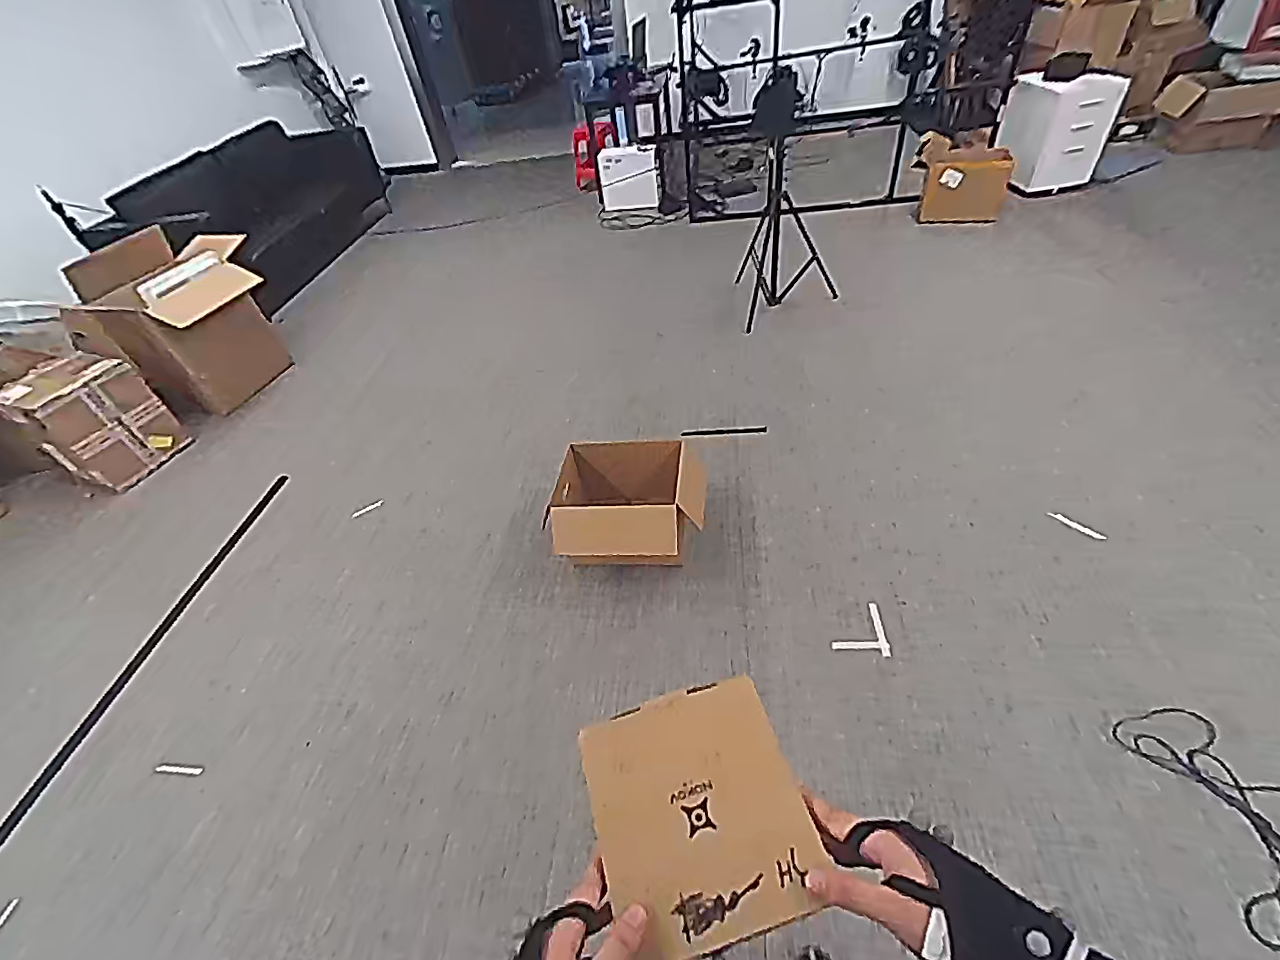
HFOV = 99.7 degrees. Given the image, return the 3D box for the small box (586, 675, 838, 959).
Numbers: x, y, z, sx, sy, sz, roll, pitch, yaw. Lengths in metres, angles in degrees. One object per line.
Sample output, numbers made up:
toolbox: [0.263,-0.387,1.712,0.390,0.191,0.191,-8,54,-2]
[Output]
small box: [0.056,0.317,0.507,0.168,0.176,0.179,-16,50,-5]
